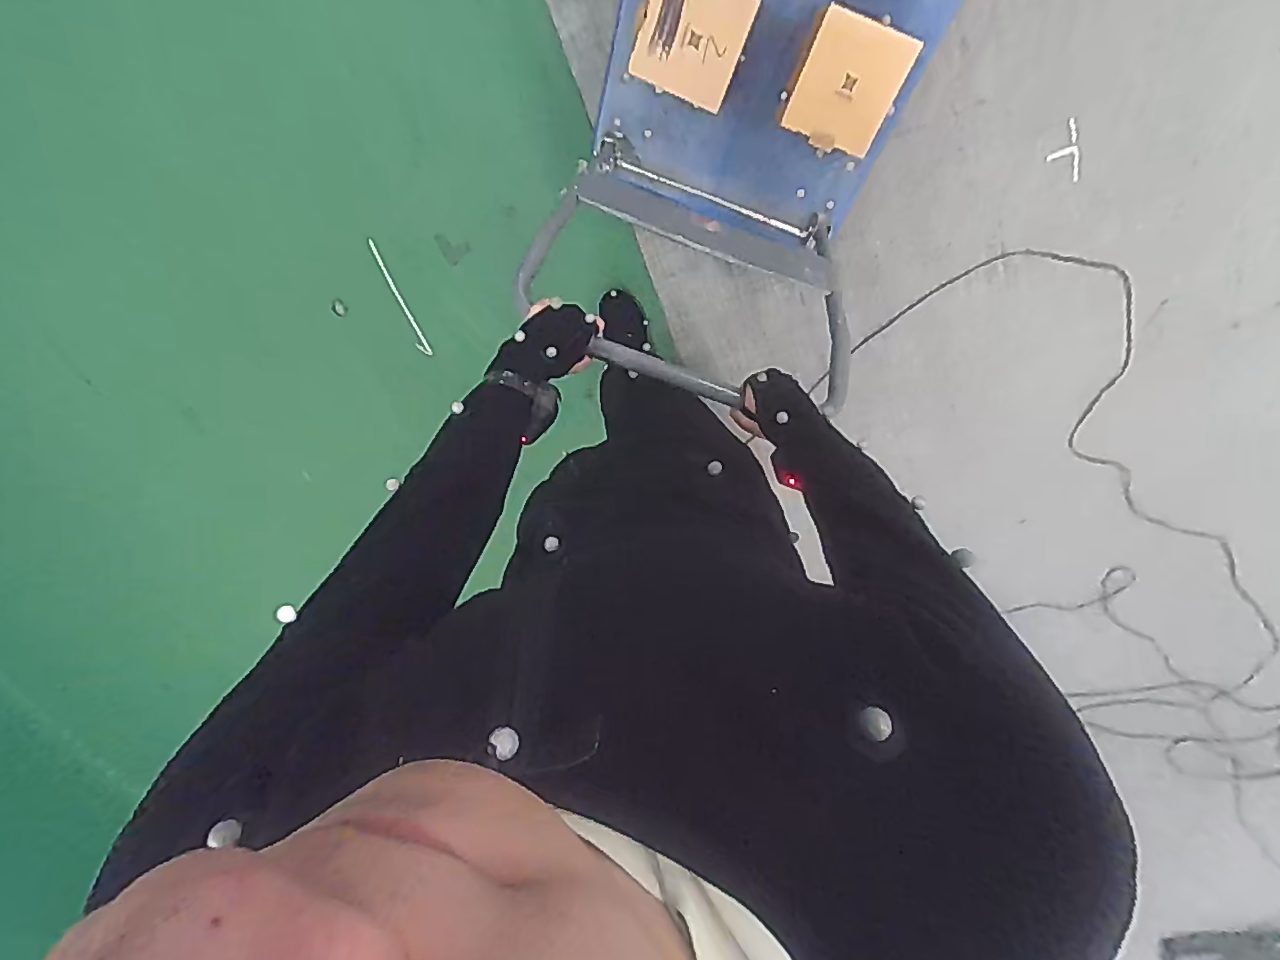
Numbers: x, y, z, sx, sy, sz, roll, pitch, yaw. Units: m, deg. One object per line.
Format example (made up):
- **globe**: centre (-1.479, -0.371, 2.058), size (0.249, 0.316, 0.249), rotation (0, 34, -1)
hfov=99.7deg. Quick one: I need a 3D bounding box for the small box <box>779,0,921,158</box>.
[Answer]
- **small box**: centre (0.359, -0.719, 0.969), size (0.168, 0.176, 0.179), rotation (19, 132, -6)
